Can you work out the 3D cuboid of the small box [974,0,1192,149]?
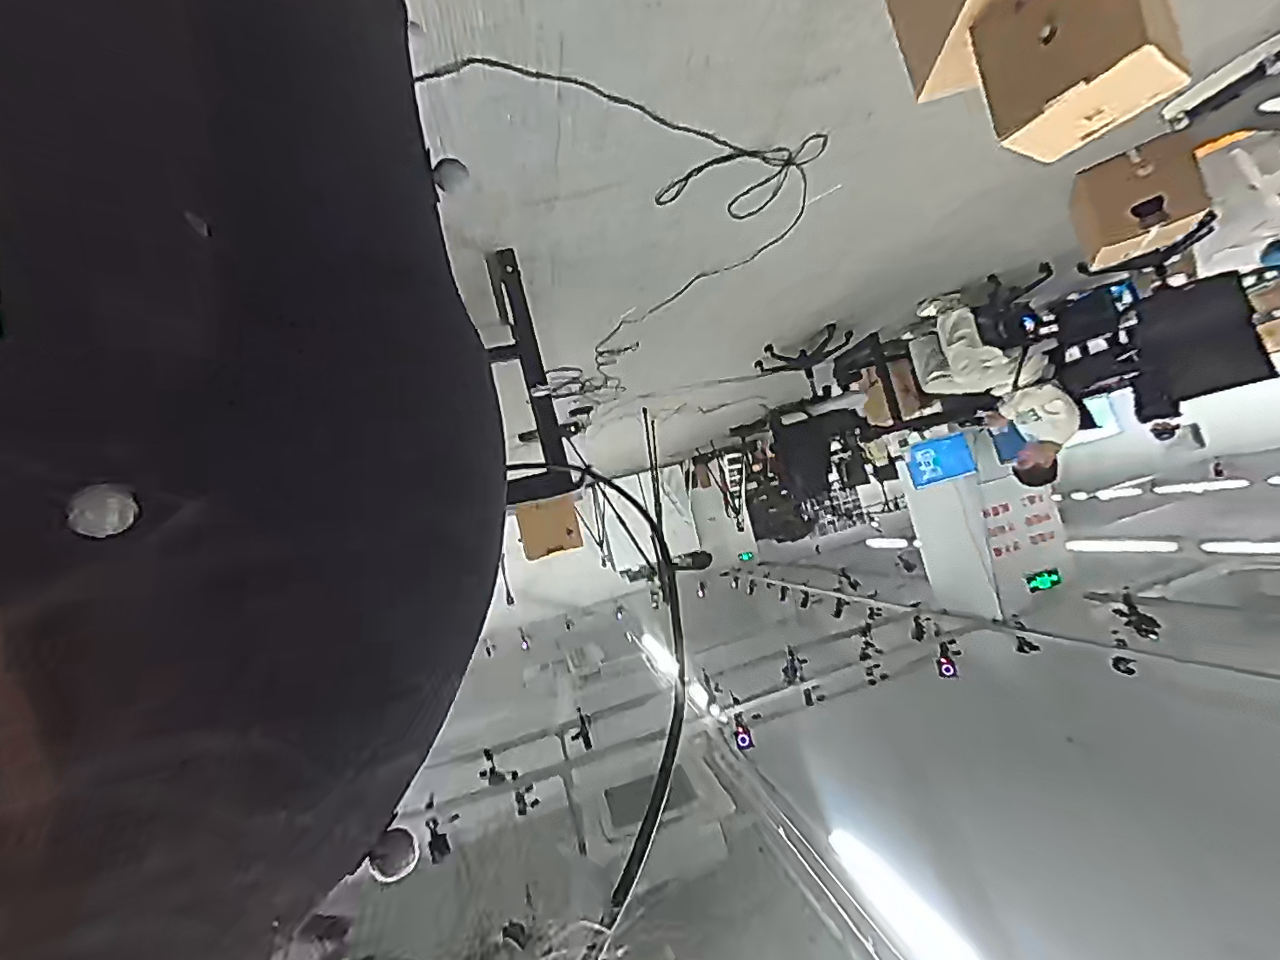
[{"bbox_3d":[0.587,-0.593,0.727,0.179,0.176,0.168,-10,176,-33],"label":"small box"}]
